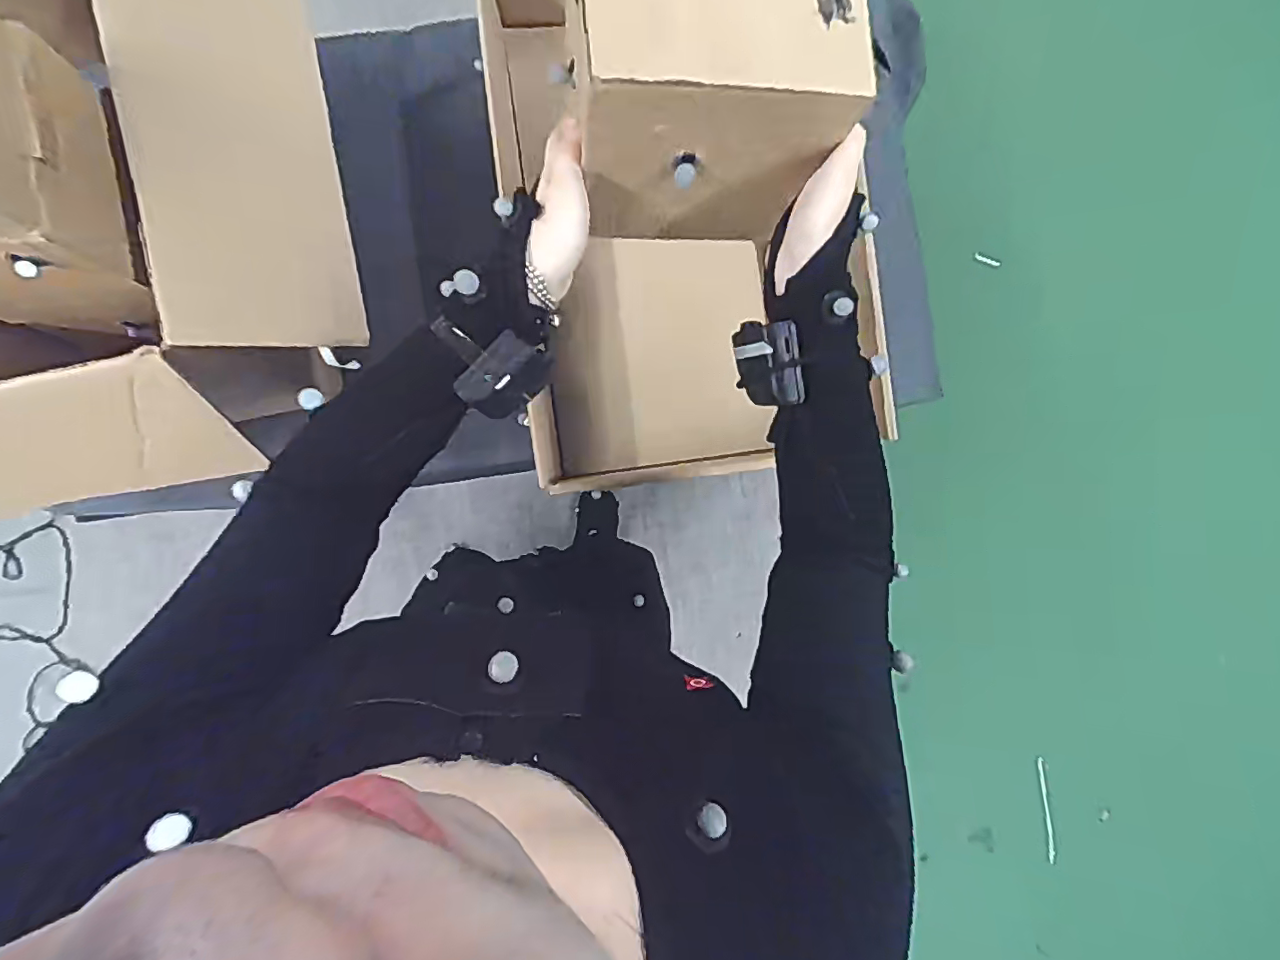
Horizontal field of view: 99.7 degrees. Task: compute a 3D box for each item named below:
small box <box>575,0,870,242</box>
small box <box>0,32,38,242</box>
[{"bbox_3d":[0.041,-0.299,0.407,0.179,0.176,0.168,-3,85,-9],"label":"small box"},{"bbox_3d":[-0.526,-0.256,0.312,0.168,0.176,0.179,-10,91,-8],"label":"small box"}]
